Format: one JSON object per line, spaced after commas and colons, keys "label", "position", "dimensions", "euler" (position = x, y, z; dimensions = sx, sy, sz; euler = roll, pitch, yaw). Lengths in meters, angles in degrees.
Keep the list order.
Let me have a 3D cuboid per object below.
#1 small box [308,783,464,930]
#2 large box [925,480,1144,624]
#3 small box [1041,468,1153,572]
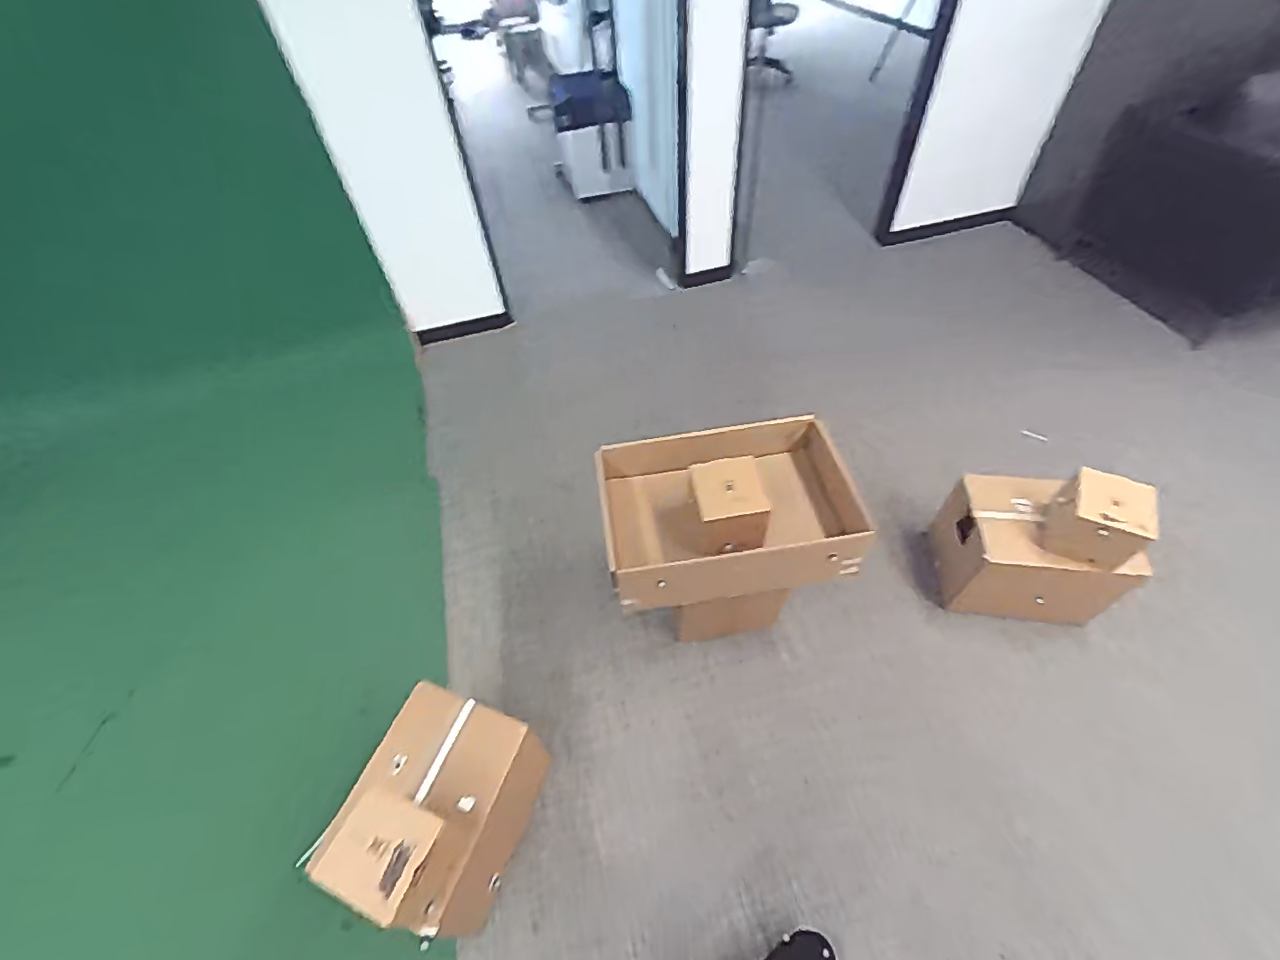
{"label": "small box", "position": [-0.461, 0.705, 1.016], "dimensions": [0.179, 0.176, 0.168], "euler": [17, 53, 17]}
{"label": "large box", "position": [1.147, 0.221, 1.633], "dimensions": [0.408, 0.320, 0.320], "euler": [4, 50, 8]}
{"label": "small box", "position": [1.179, 0.106, 1.406], "dimensions": [0.168, 0.176, 0.179], "euler": [21, 56, 19]}
